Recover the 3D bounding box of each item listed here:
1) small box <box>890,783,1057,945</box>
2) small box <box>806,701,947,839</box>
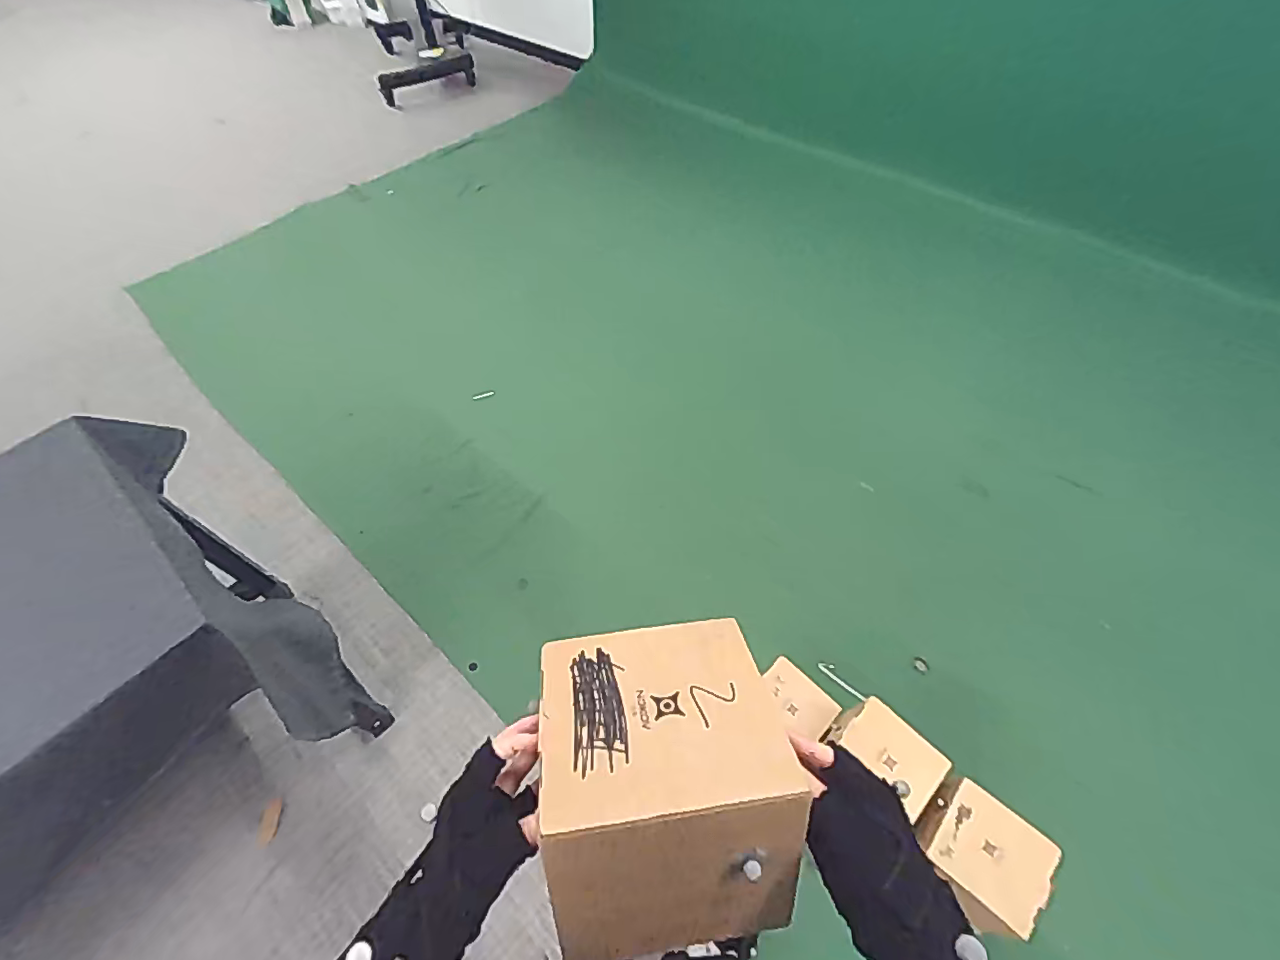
[{"bbox_3d":[0.606,0.698,1.002,0.179,0.176,0.168,37,64,22],"label":"small box"},{"bbox_3d":[0.464,0.583,1.088,0.168,0.176,0.179,-38,61,-21],"label":"small box"}]
